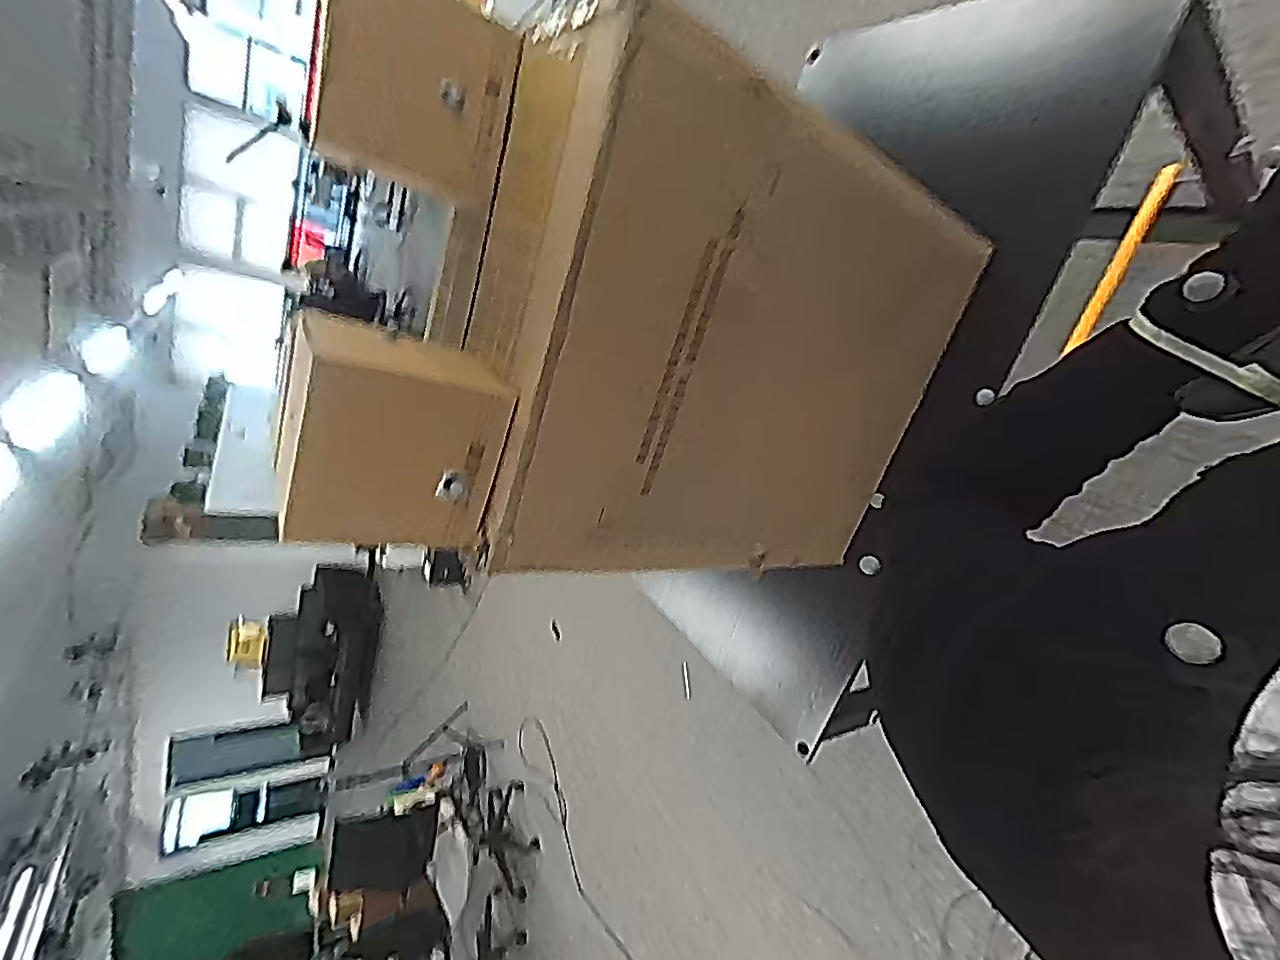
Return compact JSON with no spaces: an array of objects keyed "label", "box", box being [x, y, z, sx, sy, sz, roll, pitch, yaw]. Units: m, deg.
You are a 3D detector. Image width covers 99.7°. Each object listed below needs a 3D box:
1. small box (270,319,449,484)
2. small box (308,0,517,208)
[{"label":"small box","box":[-0.365,-0.099,0.702,0.179,0.176,0.168,30,109,52]},{"label":"small box","box":[-0.251,-0.409,0.586,0.179,0.176,0.168,38,118,51]}]
